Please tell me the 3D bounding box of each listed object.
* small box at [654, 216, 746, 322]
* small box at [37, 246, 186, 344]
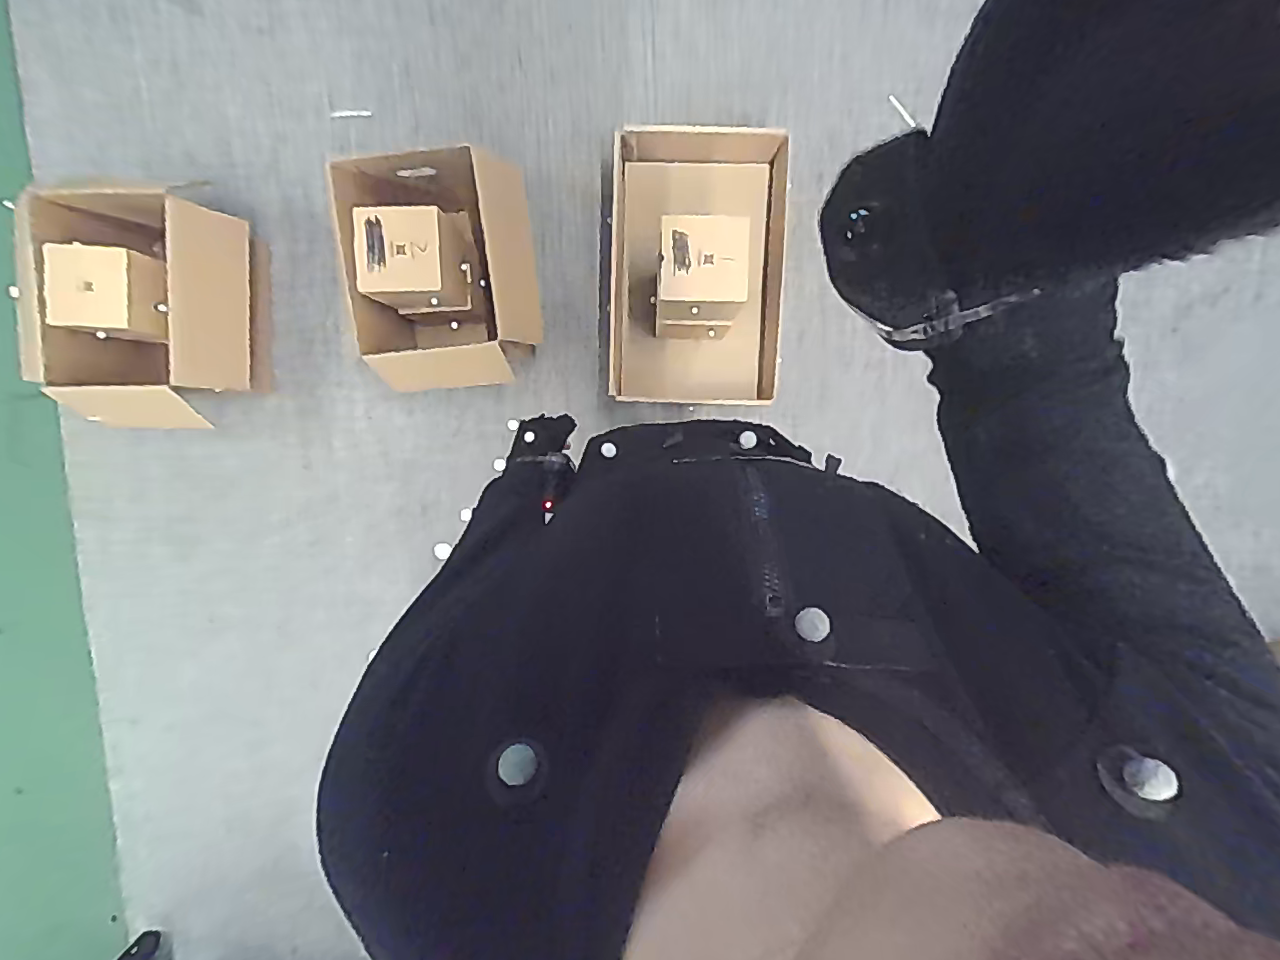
[{"bbox_3d":[0.119,-0.436,1.140,0.179,0.176,0.168,1,93,-1],"label":"small box"},{"bbox_3d":[-1.149,-0.399,1.190,0.179,0.176,0.168,3,94,0],"label":"small box"}]
